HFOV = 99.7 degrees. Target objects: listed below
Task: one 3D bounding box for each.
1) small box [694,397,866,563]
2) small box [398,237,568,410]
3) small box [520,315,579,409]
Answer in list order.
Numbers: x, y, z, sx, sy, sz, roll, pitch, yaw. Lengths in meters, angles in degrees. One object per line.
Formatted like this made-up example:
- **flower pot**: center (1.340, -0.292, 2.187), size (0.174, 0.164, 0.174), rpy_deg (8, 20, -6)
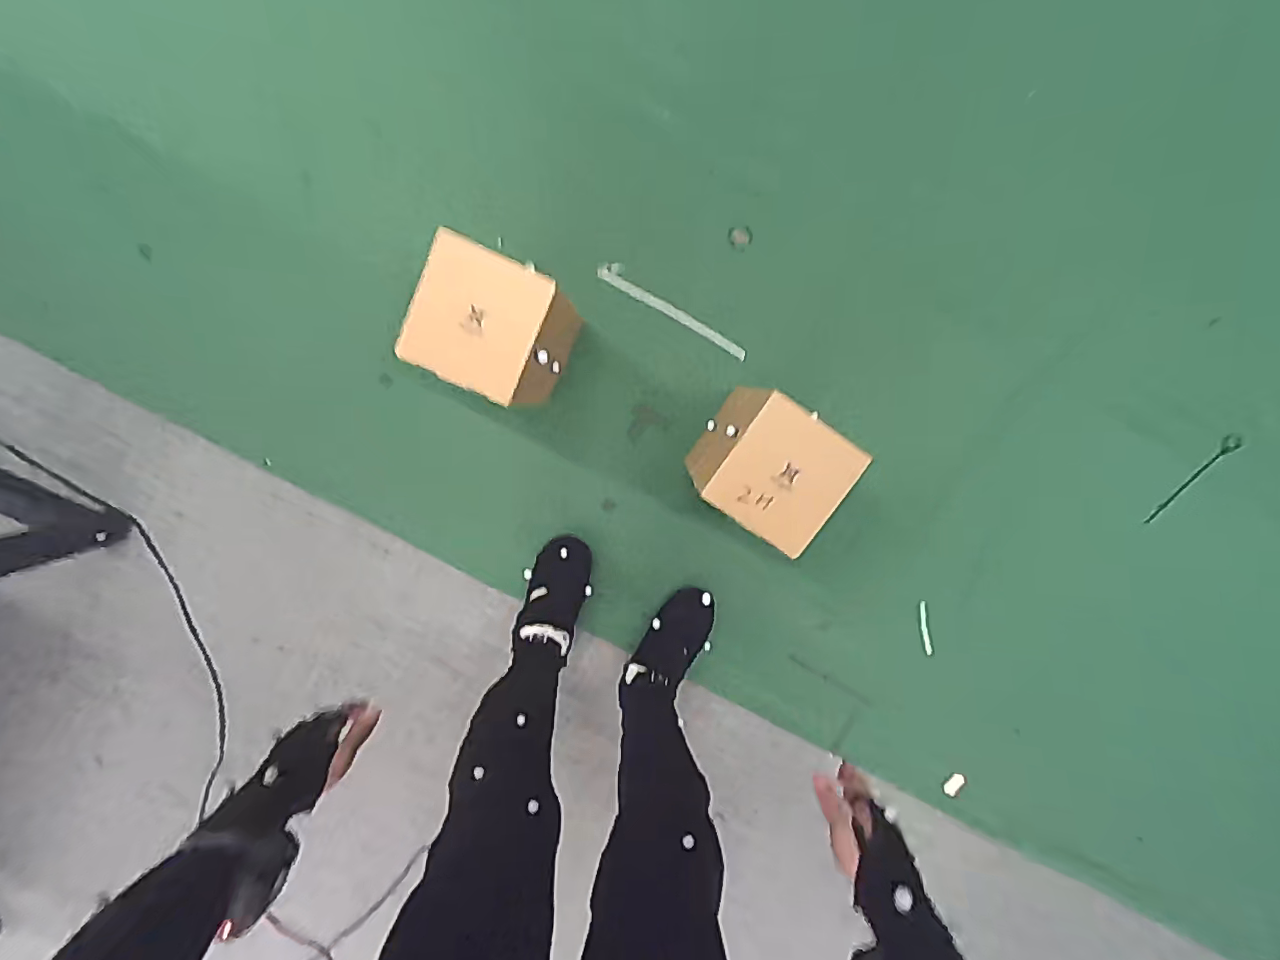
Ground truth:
- **small box**: center (0.195, -0.011, 0.818), size (0.168, 0.176, 0.179), rpy_deg (35, 99, -5)
- **small box**: center (-0.215, -0.218, 0.792), size (0.168, 0.176, 0.179), rpy_deg (25, 100, -3)
- **small box**: center (-0.219, -0.241, 0.953), size (0.168, 0.176, 0.179), rpy_deg (26, 99, -3)
